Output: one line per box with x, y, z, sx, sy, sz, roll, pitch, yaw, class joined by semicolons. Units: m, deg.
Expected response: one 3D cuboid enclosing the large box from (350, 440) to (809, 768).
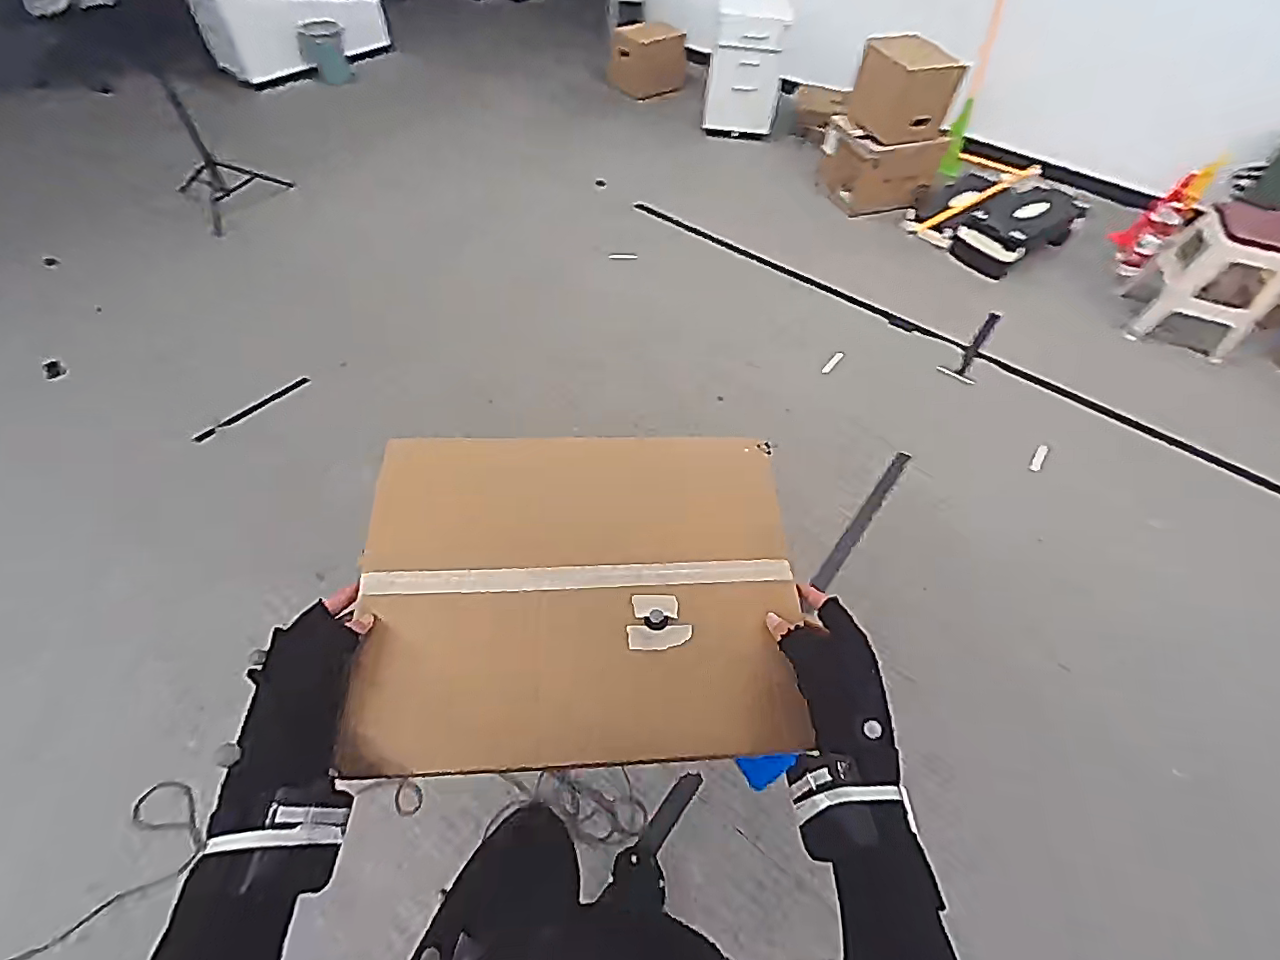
-0.067;0.163;0.662;0.408;0.320;0.320;-1;63;-6;large box

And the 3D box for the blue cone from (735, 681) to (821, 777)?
0.329;0.531;1.234;0.192;0.380;0.193;-24;60;-19;blue cone
